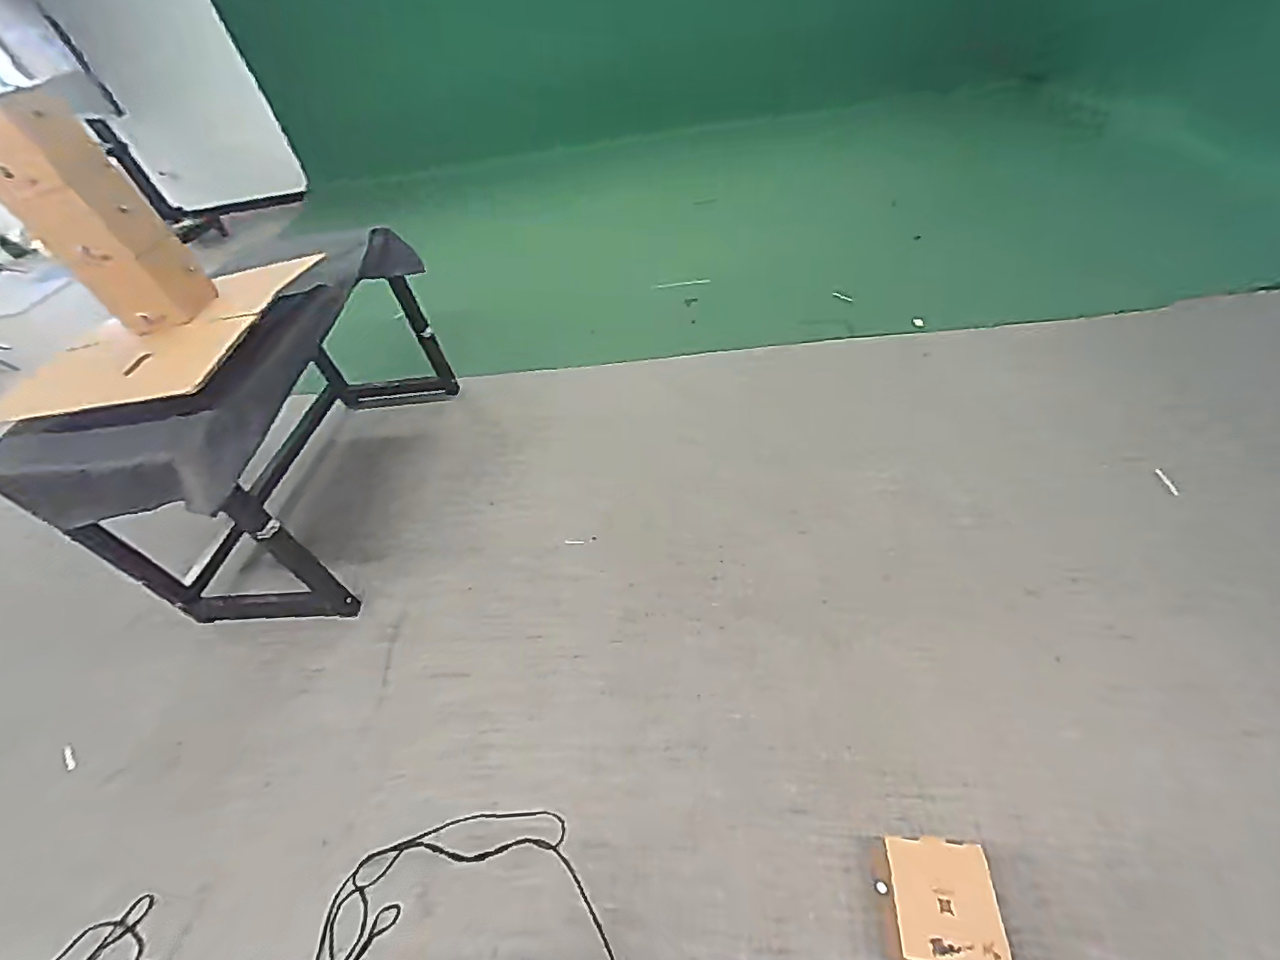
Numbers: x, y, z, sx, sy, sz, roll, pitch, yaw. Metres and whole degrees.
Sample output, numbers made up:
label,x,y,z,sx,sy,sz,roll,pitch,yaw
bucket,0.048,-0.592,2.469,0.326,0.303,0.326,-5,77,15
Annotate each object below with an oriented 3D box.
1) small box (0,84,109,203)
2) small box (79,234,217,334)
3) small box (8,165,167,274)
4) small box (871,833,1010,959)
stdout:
label,x,y,z,sx,sy,sz,roll,pitch,yaw
small box,-1.332,-0.730,1.176,0.168,0.176,0.179,-14,45,4
small box,-1.255,-0.504,1.400,0.168,0.176,0.179,-13,45,5
small box,-1.292,-0.617,1.287,0.168,0.176,0.179,-14,45,4
small box,0.527,0.766,0.975,0.168,0.176,0.179,-1,46,11
